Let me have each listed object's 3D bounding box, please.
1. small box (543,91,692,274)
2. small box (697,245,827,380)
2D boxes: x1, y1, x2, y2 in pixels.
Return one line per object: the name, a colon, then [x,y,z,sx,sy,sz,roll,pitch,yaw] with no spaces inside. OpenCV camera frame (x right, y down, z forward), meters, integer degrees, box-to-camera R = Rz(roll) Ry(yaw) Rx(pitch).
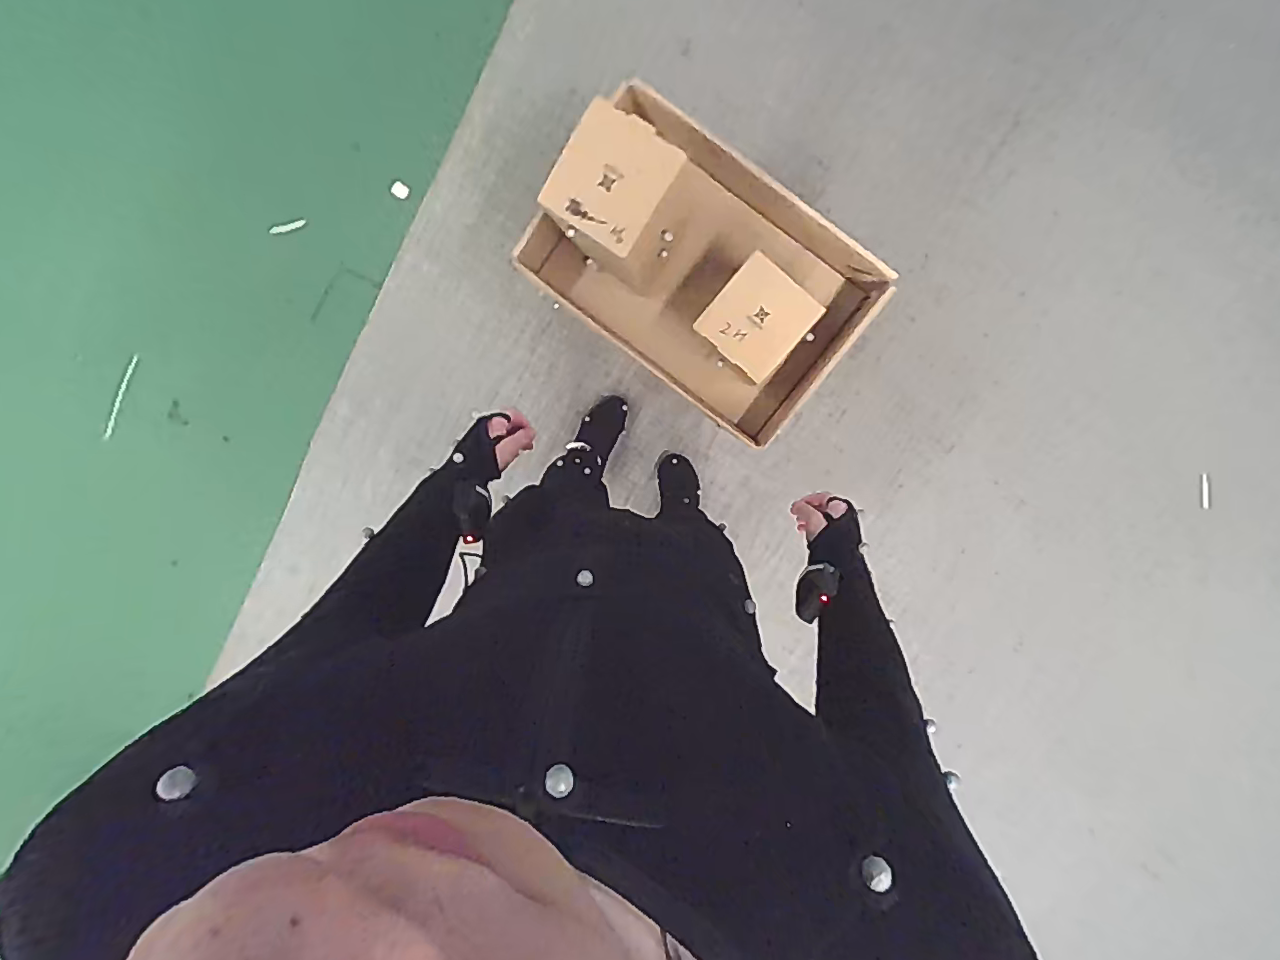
small box: [-0.027,-0.473,0.890,0.168,0.176,0.179,35,102,3]
small box: [0.227,-0.313,1.047,0.168,0.176,0.179,42,102,0]
